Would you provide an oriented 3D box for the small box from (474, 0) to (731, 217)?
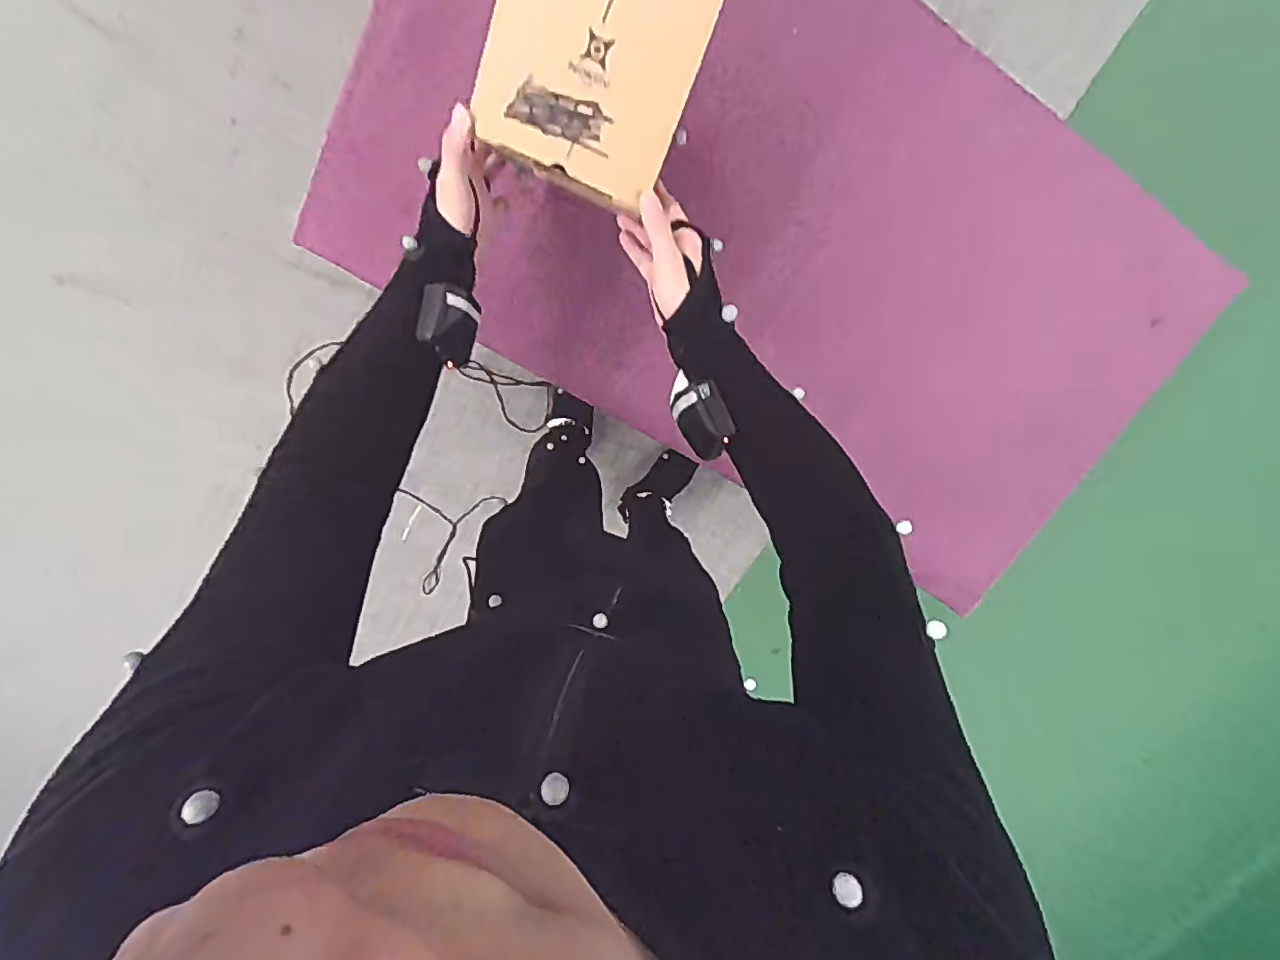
[{"bbox_3d":[-0.037,-0.369,0.511,0.168,0.176,0.179,20,112,-13],"label":"small box"}]
